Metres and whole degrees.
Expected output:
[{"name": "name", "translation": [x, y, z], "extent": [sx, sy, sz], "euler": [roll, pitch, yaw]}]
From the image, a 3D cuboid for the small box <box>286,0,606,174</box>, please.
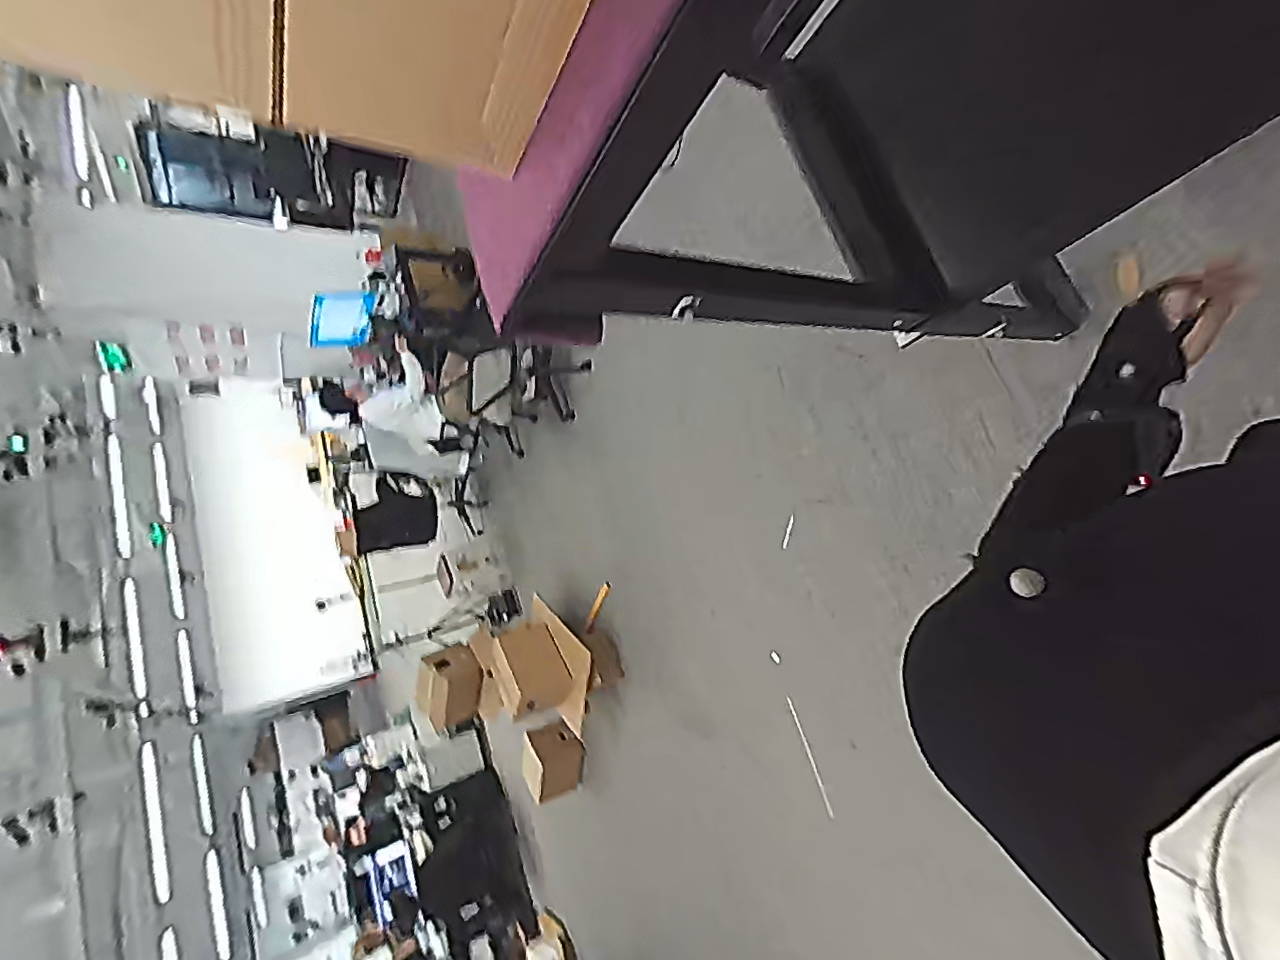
[{"name": "small box", "translation": [-0.140, -0.352, 0.373], "extent": [0.179, 0.176, 0.168], "euler": [-33, 69, 51]}]
